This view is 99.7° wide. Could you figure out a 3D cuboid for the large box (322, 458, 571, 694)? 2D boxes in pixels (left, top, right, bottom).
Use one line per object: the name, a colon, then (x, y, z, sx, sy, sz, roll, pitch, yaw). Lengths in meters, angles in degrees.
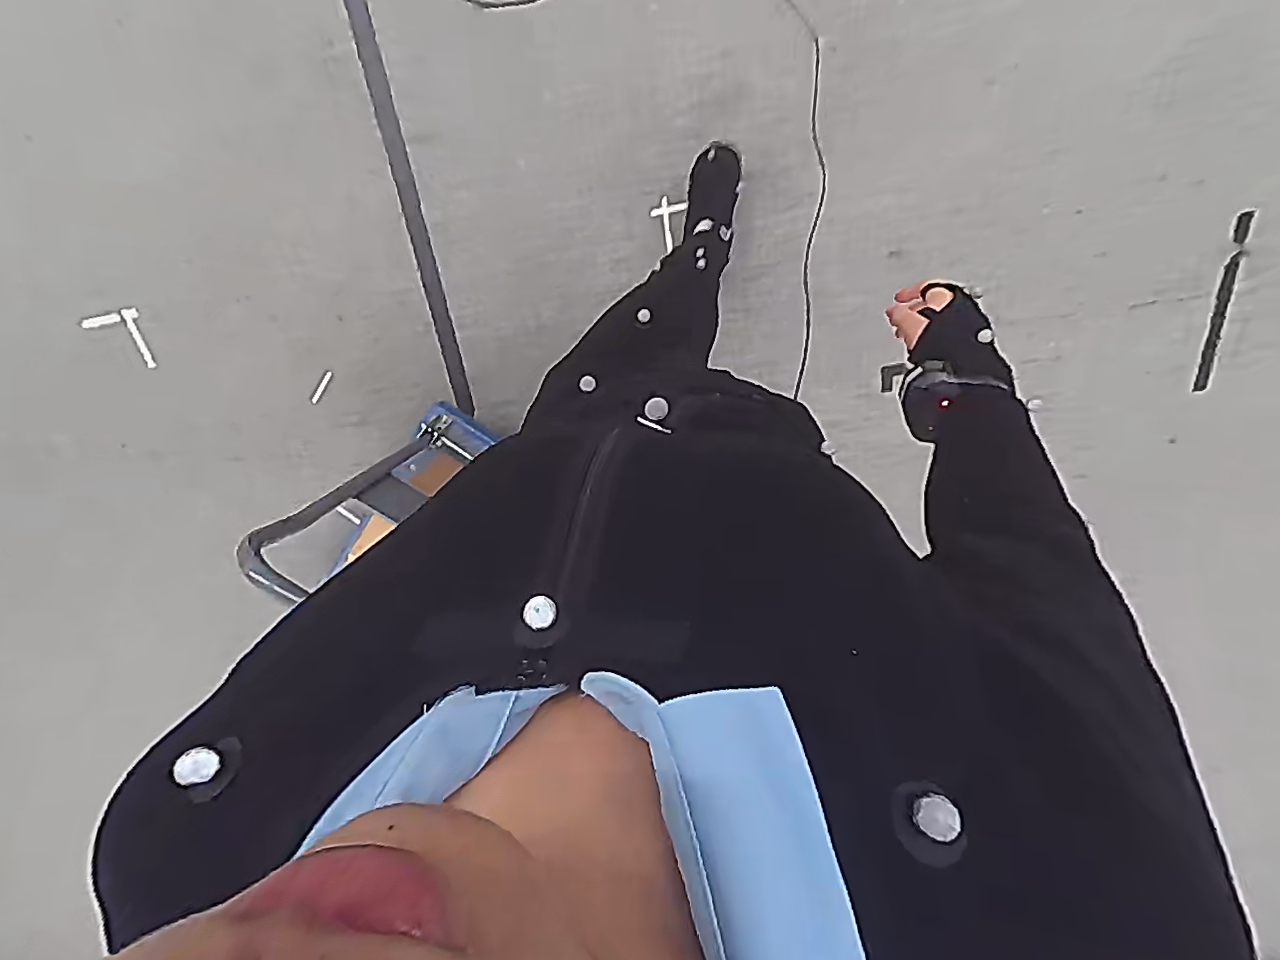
large box: (-0.433, 0.215, 1.291, 0.408, 0.320, 0.320, 36, 109, -9)
